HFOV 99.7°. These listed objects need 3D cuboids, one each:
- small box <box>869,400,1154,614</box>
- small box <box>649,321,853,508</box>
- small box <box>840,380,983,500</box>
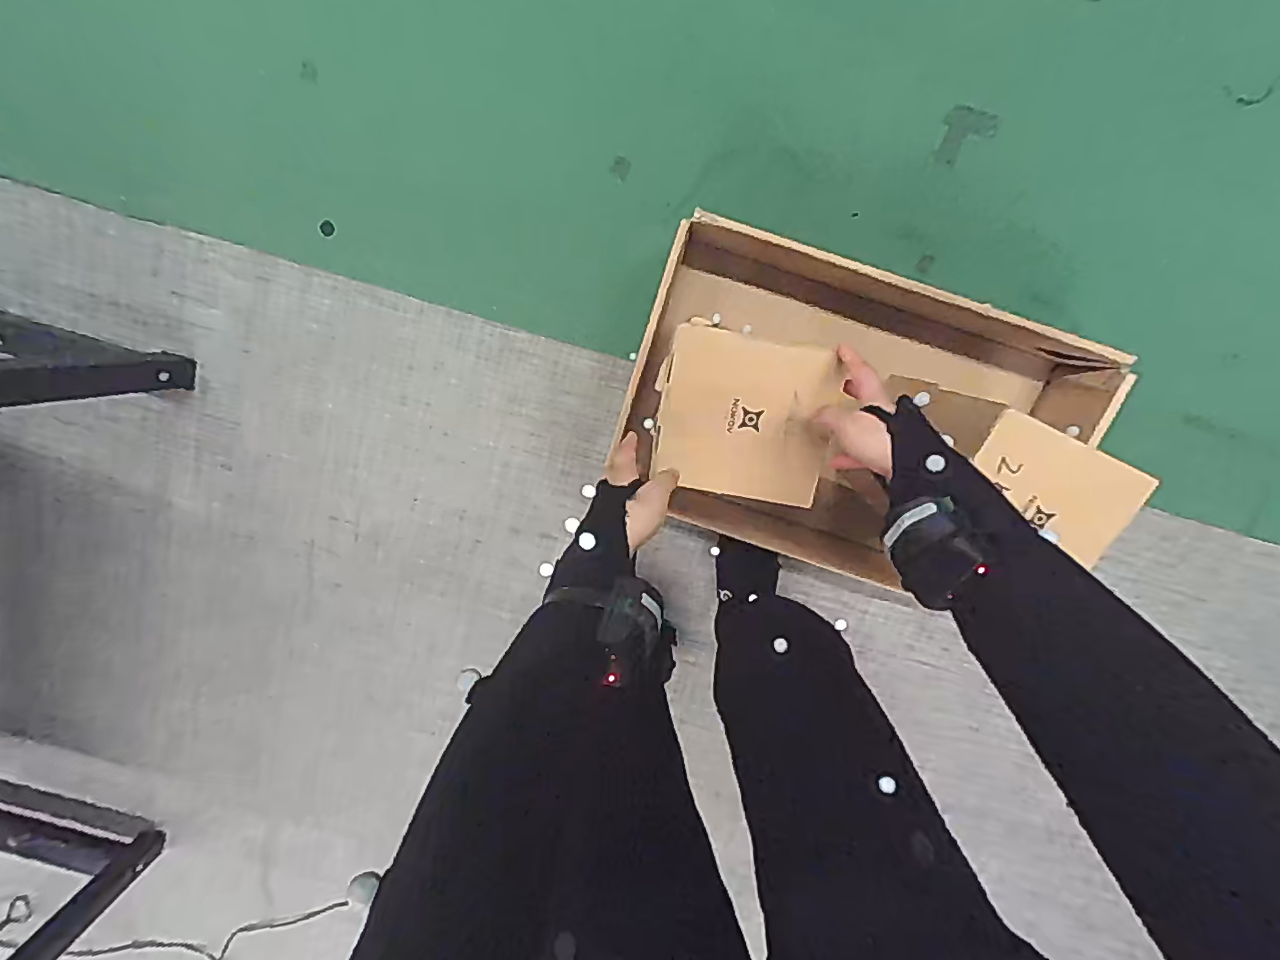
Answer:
[{"bbox_3d":[0.408,0.018,0.631,0.179,0.176,0.168,26,105,-2],"label":"small box"},{"bbox_3d":[0.111,-0.084,0.621,0.179,0.176,0.168,10,107,-1],"label":"small box"},{"bbox_3d":[0.419,-0.031,0.787,0.168,0.176,0.179,26,106,-3],"label":"small box"}]
